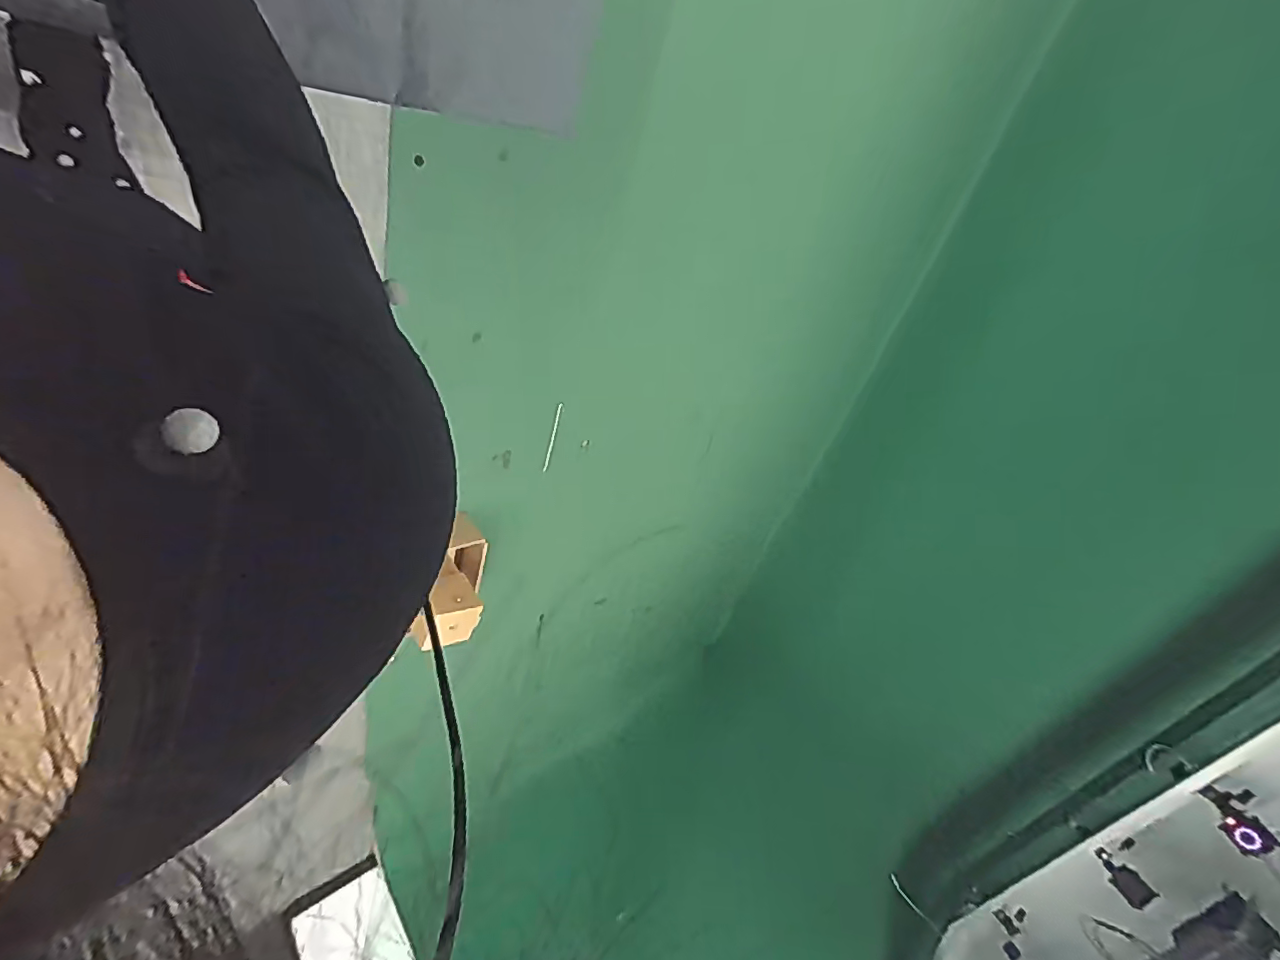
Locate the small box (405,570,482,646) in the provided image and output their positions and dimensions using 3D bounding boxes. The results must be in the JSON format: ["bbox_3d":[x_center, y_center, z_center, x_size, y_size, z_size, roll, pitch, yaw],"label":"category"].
[{"bbox_3d":[-0.674,0.429,1.838,0.179,0.176,0.168,-1,127,-48],"label":"small box"}]
